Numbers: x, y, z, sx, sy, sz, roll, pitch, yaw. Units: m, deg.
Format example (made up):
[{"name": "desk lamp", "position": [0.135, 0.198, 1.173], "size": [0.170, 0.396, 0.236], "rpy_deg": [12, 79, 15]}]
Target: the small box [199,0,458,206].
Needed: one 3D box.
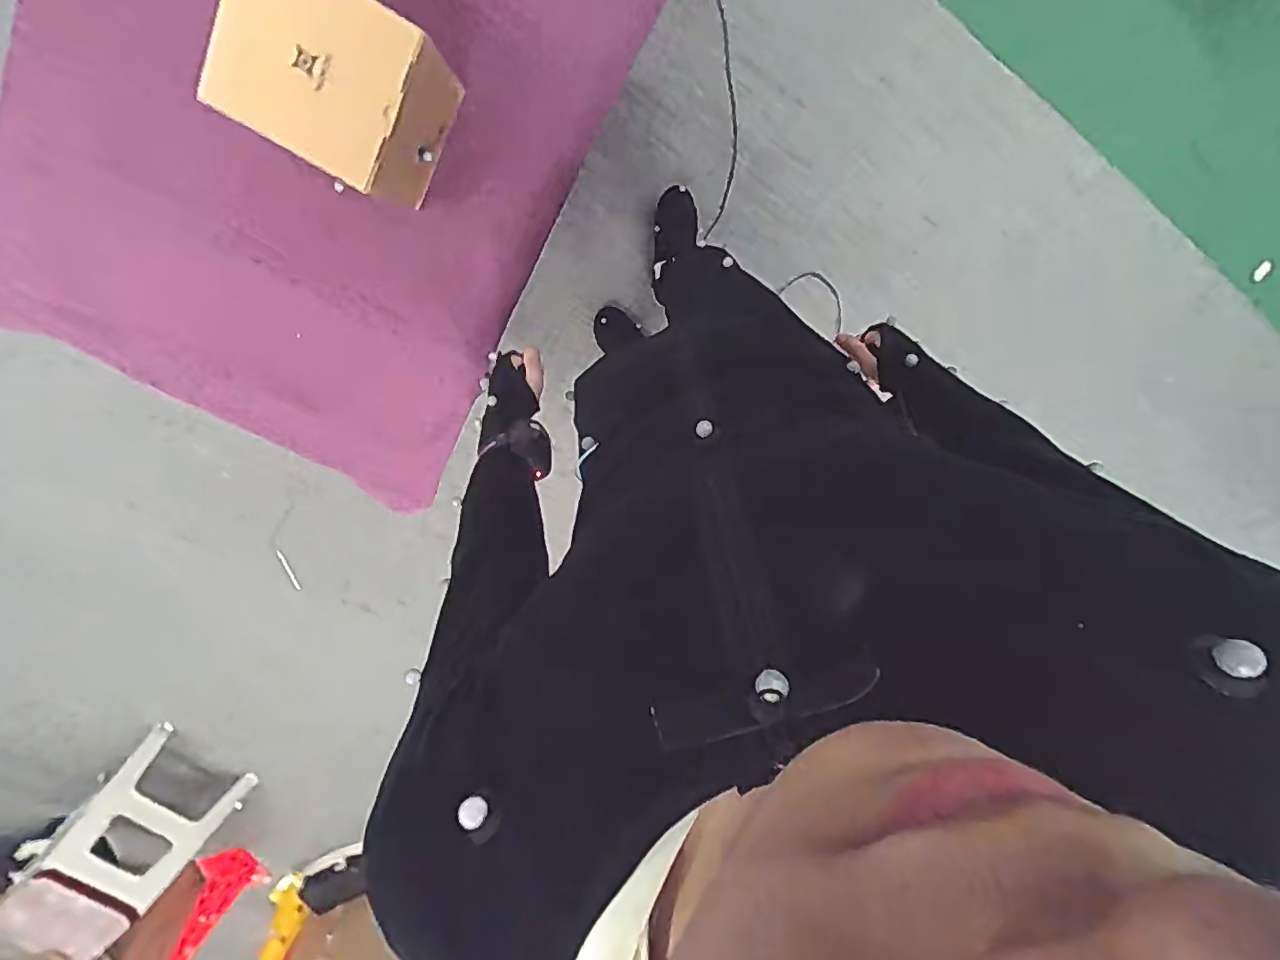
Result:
[{"name": "small box", "position": [-0.335, -0.437, 0.614], "size": [0.179, 0.176, 0.168], "rpy_deg": [26, 105, -14]}]
